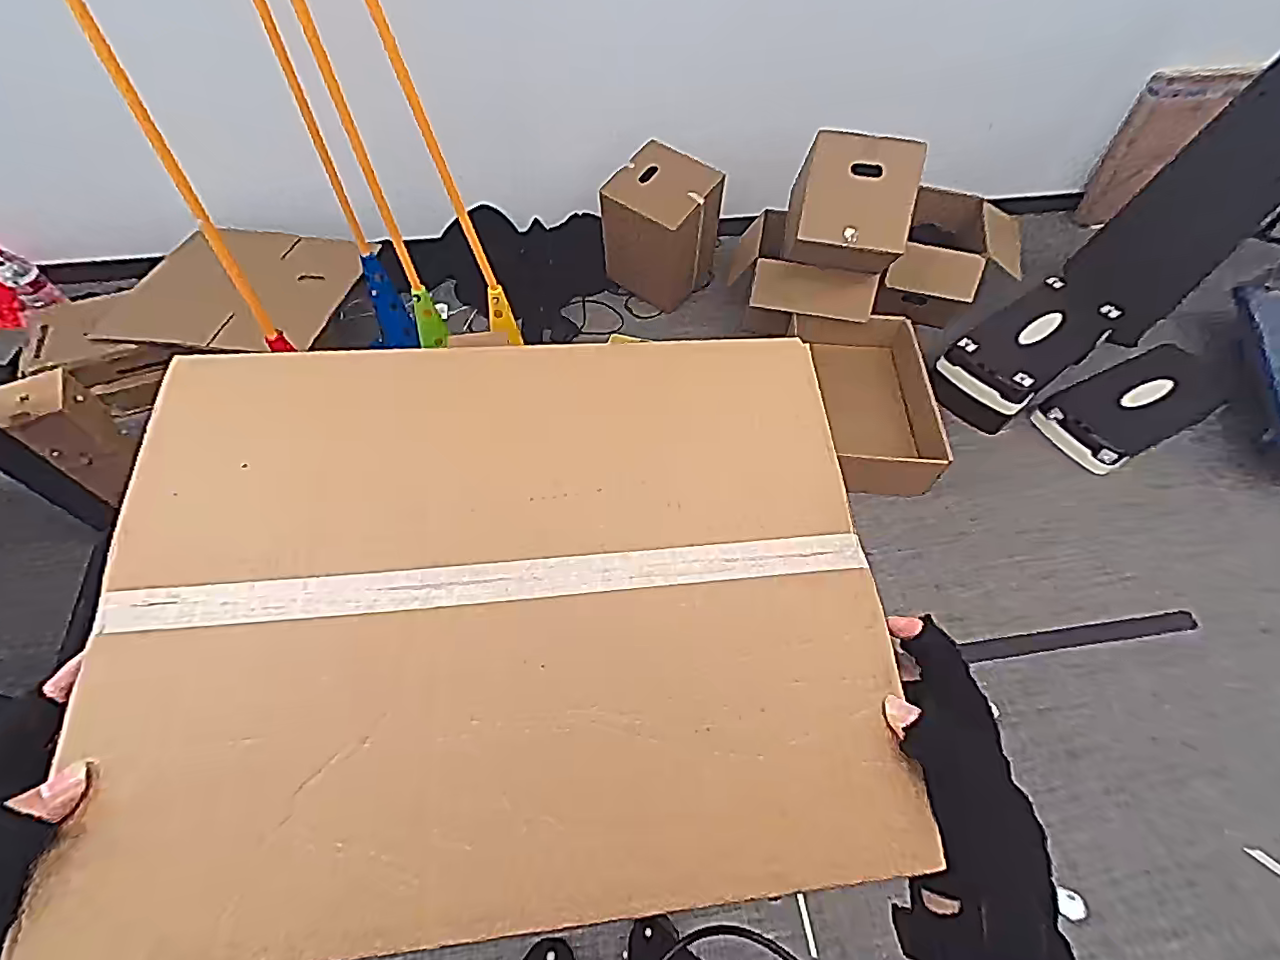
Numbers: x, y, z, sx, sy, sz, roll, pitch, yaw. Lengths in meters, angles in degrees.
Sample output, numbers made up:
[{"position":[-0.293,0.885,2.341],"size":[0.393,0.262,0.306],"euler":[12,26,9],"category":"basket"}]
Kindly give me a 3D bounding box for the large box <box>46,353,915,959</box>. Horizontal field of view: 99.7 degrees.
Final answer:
[{"position":[-0.081,0.121,0.440],"size":[0.408,0.320,0.320],"euler":[-3,67,-6],"category":"large box"}]
